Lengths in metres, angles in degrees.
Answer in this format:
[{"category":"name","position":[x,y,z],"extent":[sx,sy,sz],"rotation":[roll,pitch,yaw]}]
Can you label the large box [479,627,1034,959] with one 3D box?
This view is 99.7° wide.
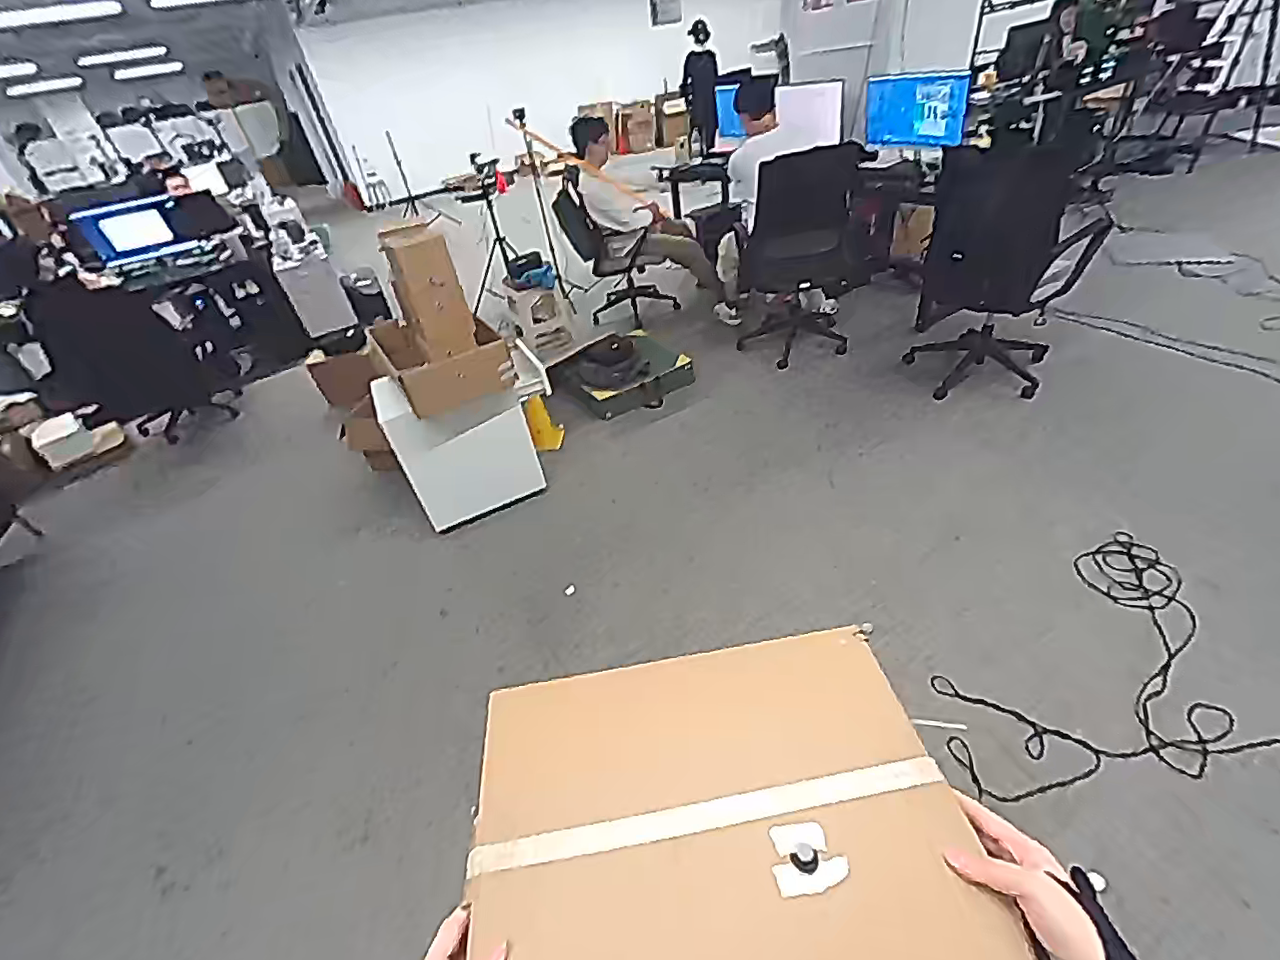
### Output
[{"category":"large box","position":[0.074,0.404,0.566],"extent":[0.408,0.320,0.320],"rotation":[-9,38,-3]}]
